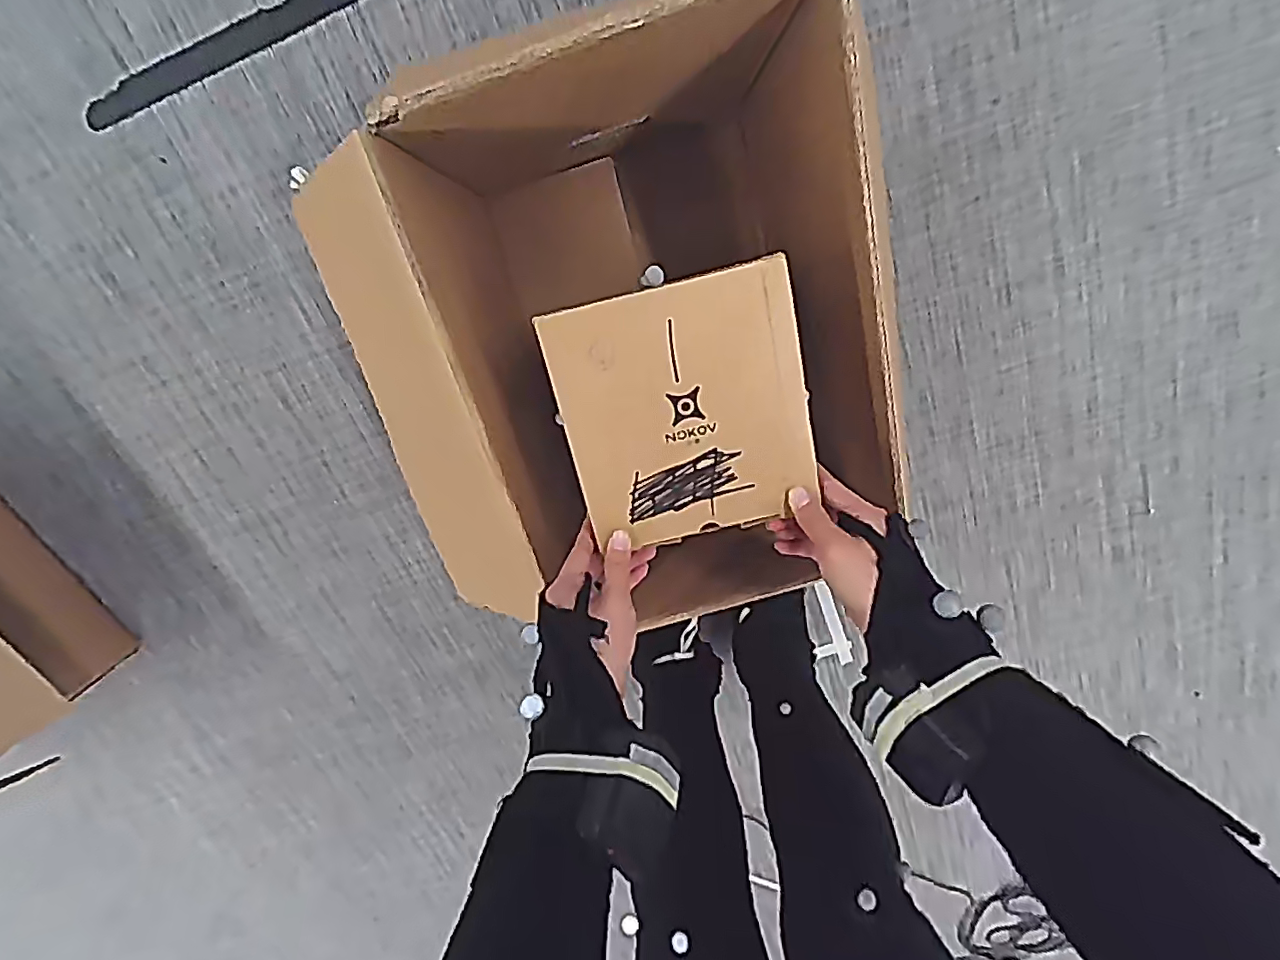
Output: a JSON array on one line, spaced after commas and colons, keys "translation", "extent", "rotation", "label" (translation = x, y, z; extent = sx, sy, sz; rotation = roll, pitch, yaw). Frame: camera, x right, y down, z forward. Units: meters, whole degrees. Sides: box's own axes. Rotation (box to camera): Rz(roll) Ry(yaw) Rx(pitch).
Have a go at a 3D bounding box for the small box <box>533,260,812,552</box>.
[{"translation": [0.026, -0.067, 0.445], "extent": [0.168, 0.176, 0.179], "rotation": [-13, 107, 2], "label": "small box"}]
